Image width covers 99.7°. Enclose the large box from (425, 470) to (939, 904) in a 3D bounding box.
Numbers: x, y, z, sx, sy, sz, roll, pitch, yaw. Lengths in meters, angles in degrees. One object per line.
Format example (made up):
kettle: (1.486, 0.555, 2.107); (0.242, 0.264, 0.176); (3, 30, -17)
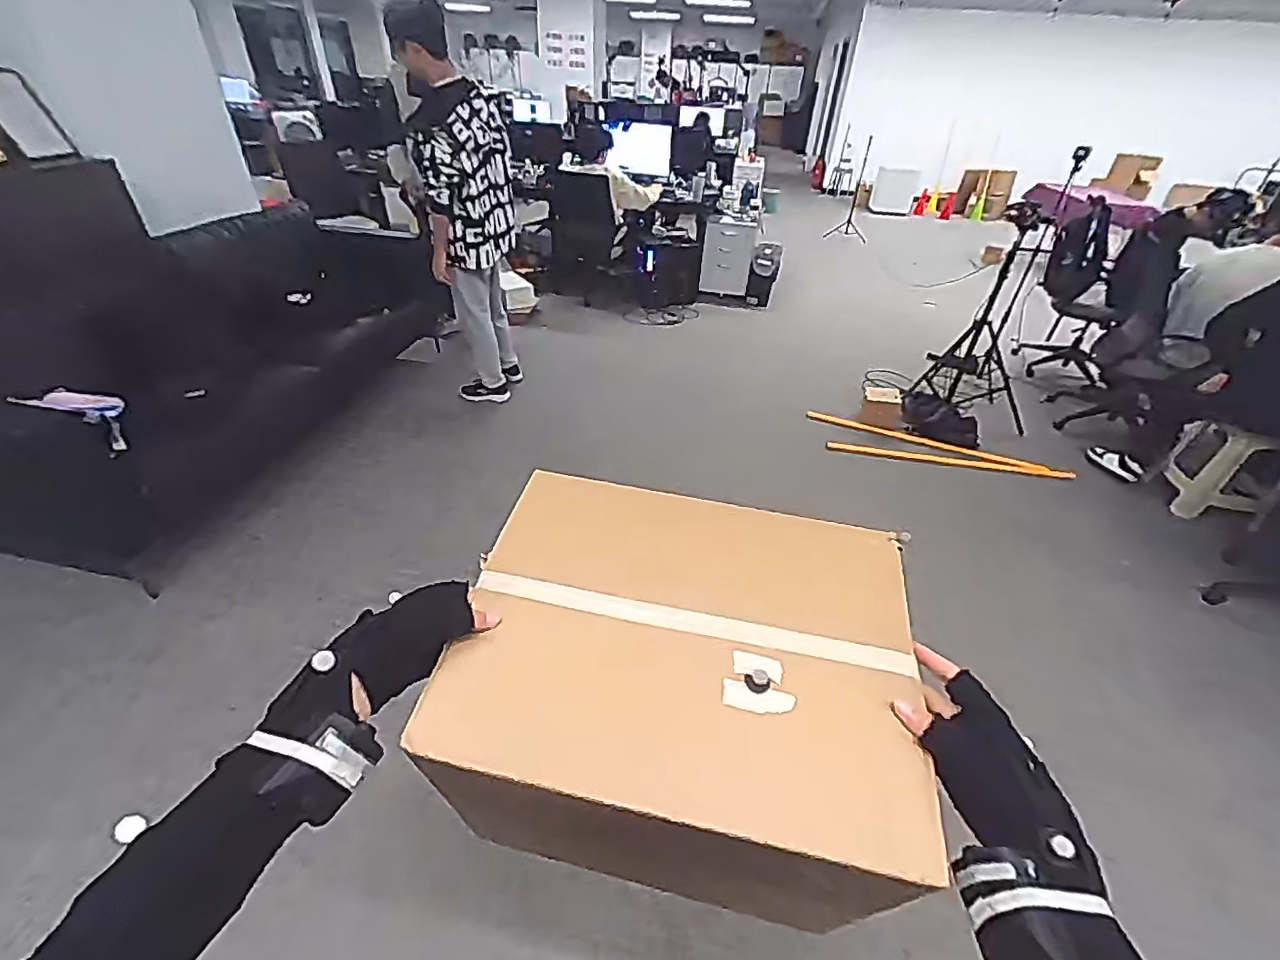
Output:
large box: (0.042, 0.228, 0.615); (0.408, 0.320, 0.320); (10, 47, 7)
